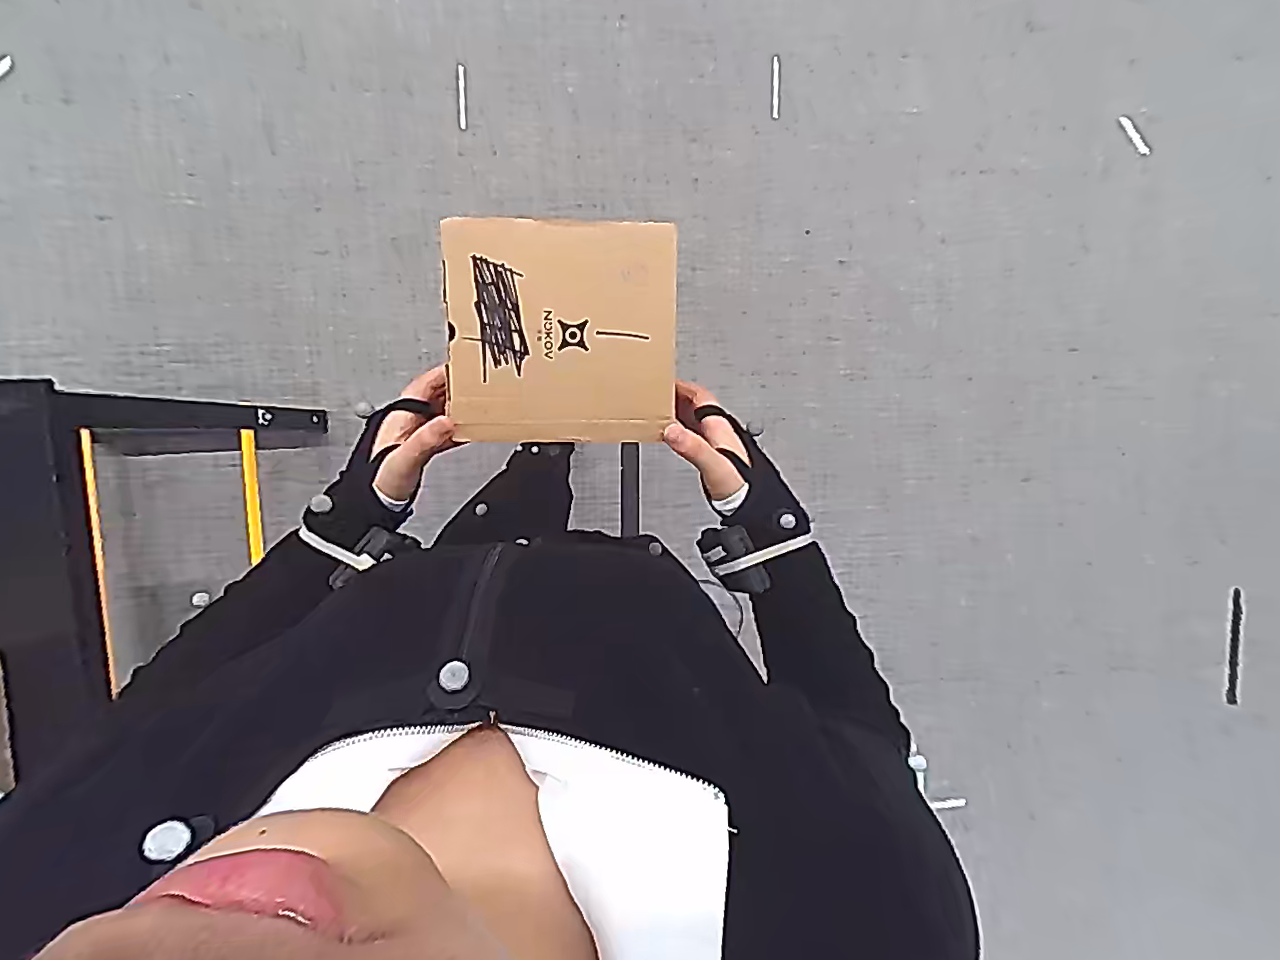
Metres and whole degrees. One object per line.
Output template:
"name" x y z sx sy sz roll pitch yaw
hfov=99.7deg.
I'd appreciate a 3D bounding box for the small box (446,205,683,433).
"small box" -0.060 -0.127 0.484 0.179 0.176 0.168 0 98 -4
